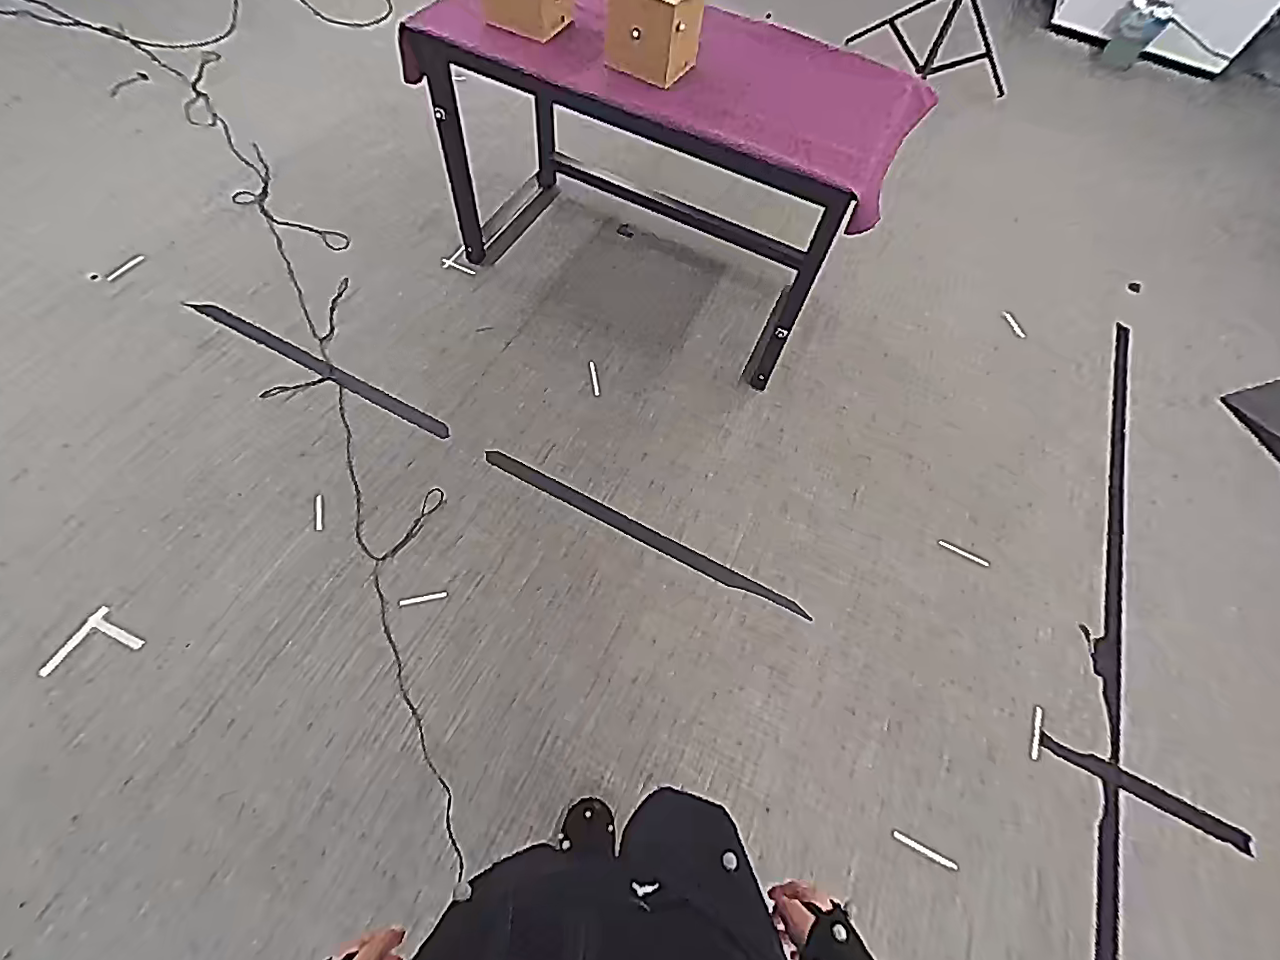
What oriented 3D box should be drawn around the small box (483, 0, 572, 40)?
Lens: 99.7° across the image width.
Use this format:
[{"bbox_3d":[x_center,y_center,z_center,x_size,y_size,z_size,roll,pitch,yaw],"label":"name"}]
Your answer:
[{"bbox_3d":[-0.277,-1.229,1.333,0.179,0.176,0.168,23,61,6],"label":"small box"}]
